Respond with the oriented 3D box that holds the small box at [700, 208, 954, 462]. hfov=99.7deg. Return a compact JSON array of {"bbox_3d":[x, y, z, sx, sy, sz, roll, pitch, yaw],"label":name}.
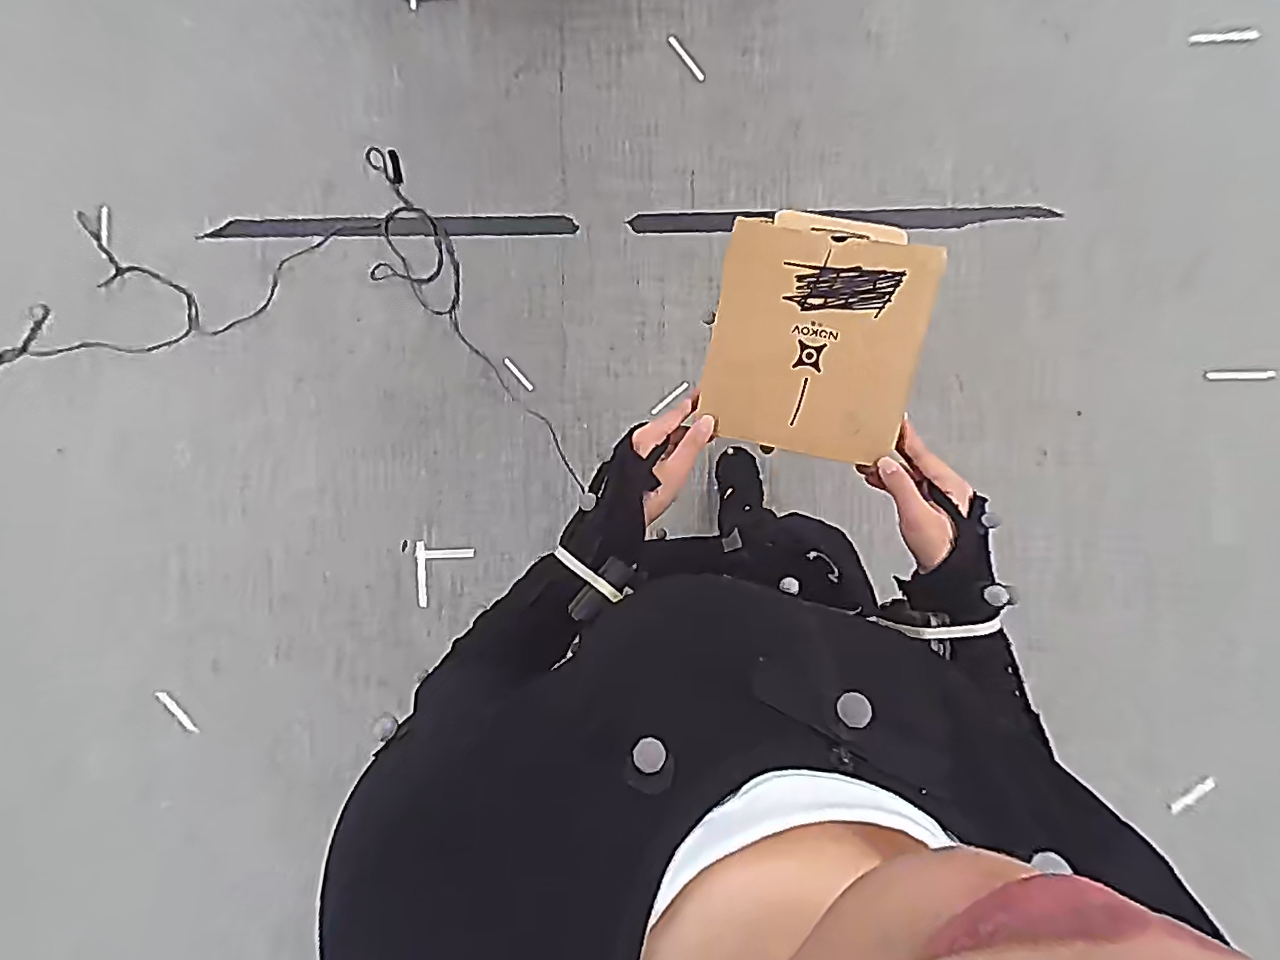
[{"bbox_3d":[0.154,-0.126,0.508,0.168,0.176,0.179,12,101,6],"label":"small box"}]
